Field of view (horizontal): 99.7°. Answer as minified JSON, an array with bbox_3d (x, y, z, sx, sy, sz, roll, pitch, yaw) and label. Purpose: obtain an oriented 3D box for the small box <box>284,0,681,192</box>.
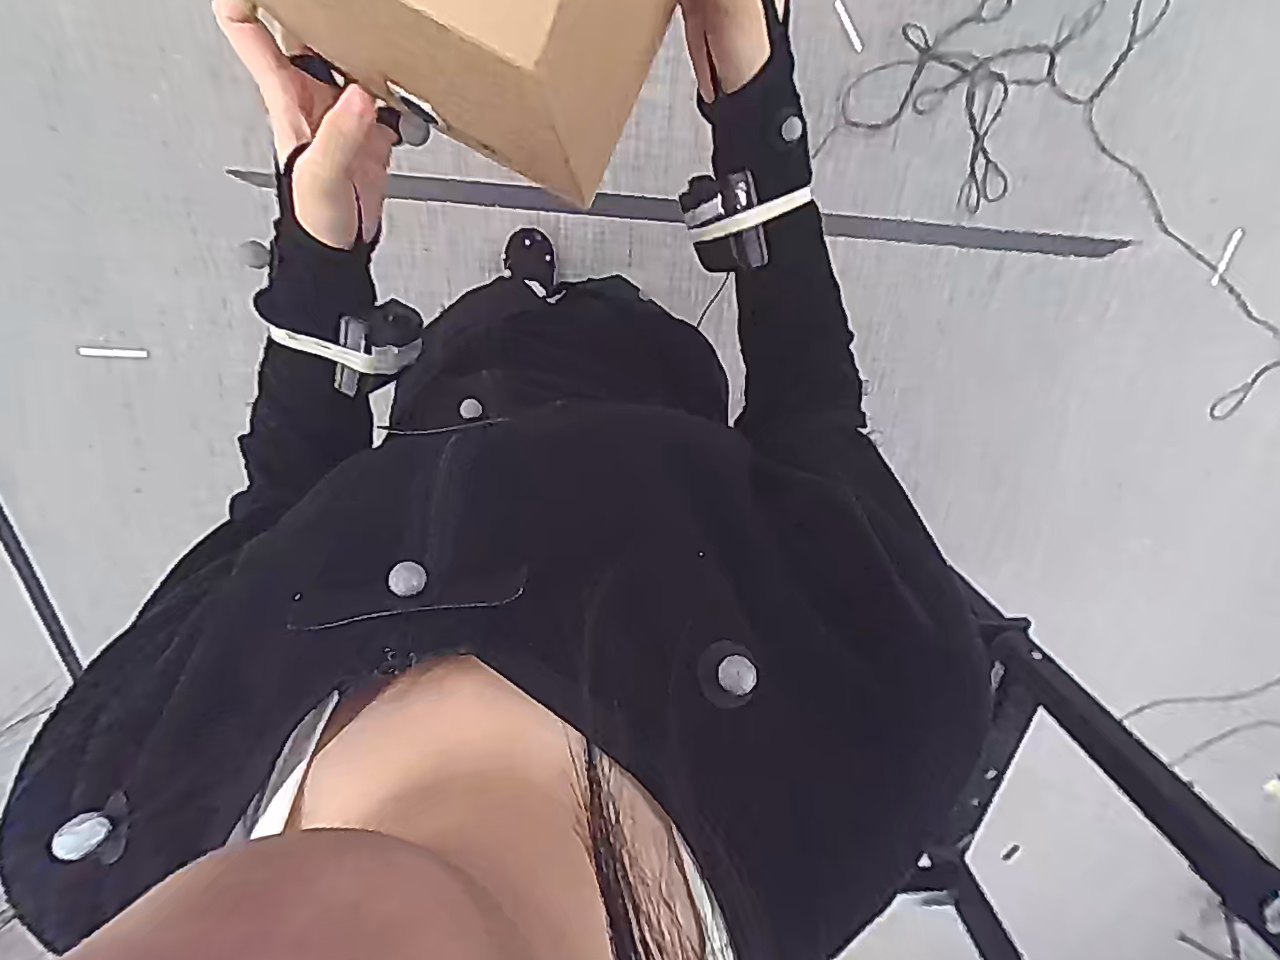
[{"bbox_3d":[-0.064,-0.262,0.230,0.168,0.176,0.179,24,103,-5],"label":"small box"}]
